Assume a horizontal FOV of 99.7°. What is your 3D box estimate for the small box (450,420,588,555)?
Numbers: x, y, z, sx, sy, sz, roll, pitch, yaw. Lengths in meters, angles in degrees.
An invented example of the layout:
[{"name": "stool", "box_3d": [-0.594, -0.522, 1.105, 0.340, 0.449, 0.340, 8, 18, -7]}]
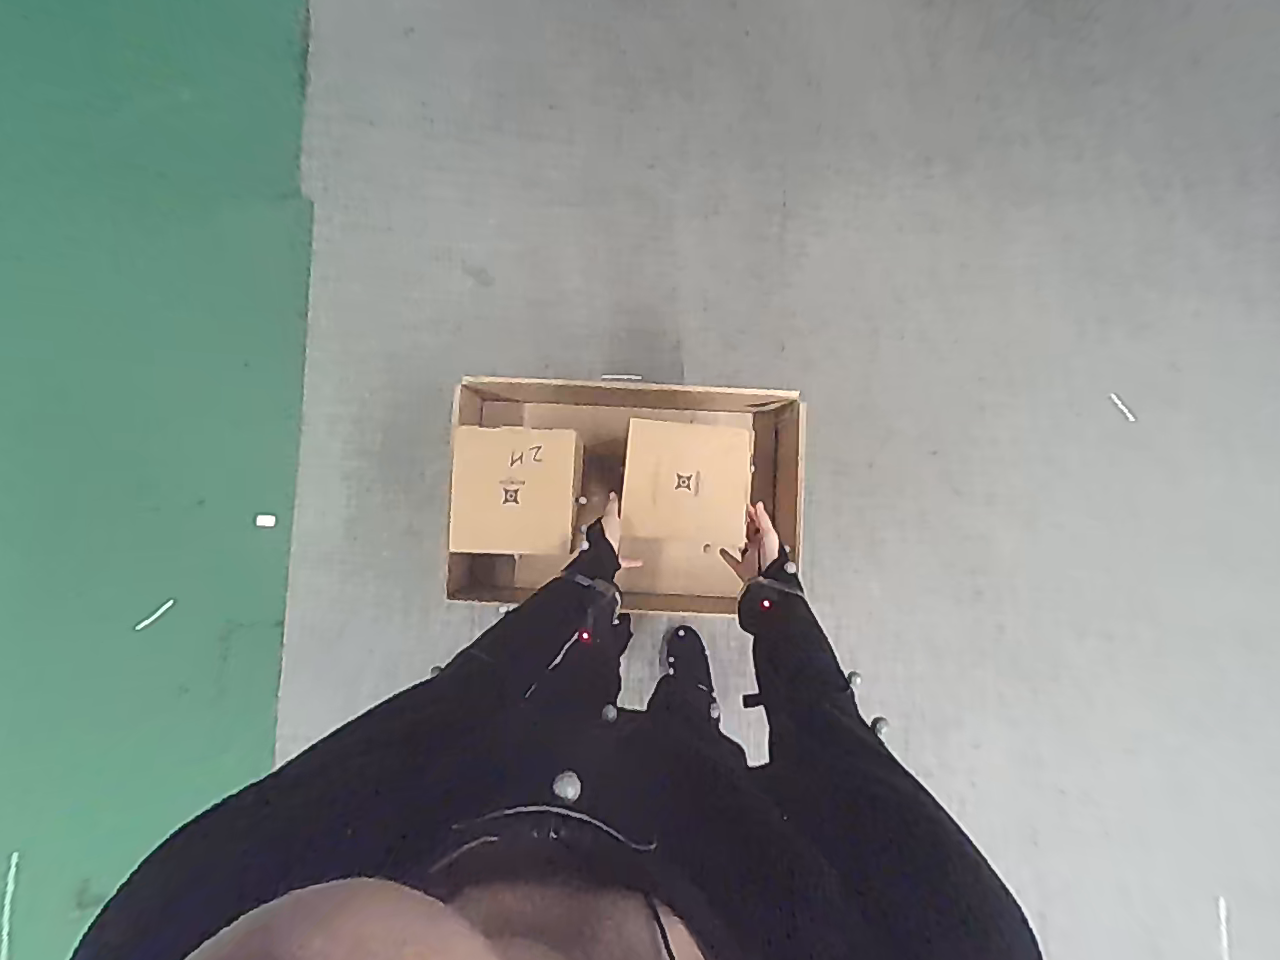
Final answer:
[{"name": "small box", "box_3d": [-0.168, 0.013, 0.804, 0.168, 0.176, 0.179, 3, 86, 0]}]
